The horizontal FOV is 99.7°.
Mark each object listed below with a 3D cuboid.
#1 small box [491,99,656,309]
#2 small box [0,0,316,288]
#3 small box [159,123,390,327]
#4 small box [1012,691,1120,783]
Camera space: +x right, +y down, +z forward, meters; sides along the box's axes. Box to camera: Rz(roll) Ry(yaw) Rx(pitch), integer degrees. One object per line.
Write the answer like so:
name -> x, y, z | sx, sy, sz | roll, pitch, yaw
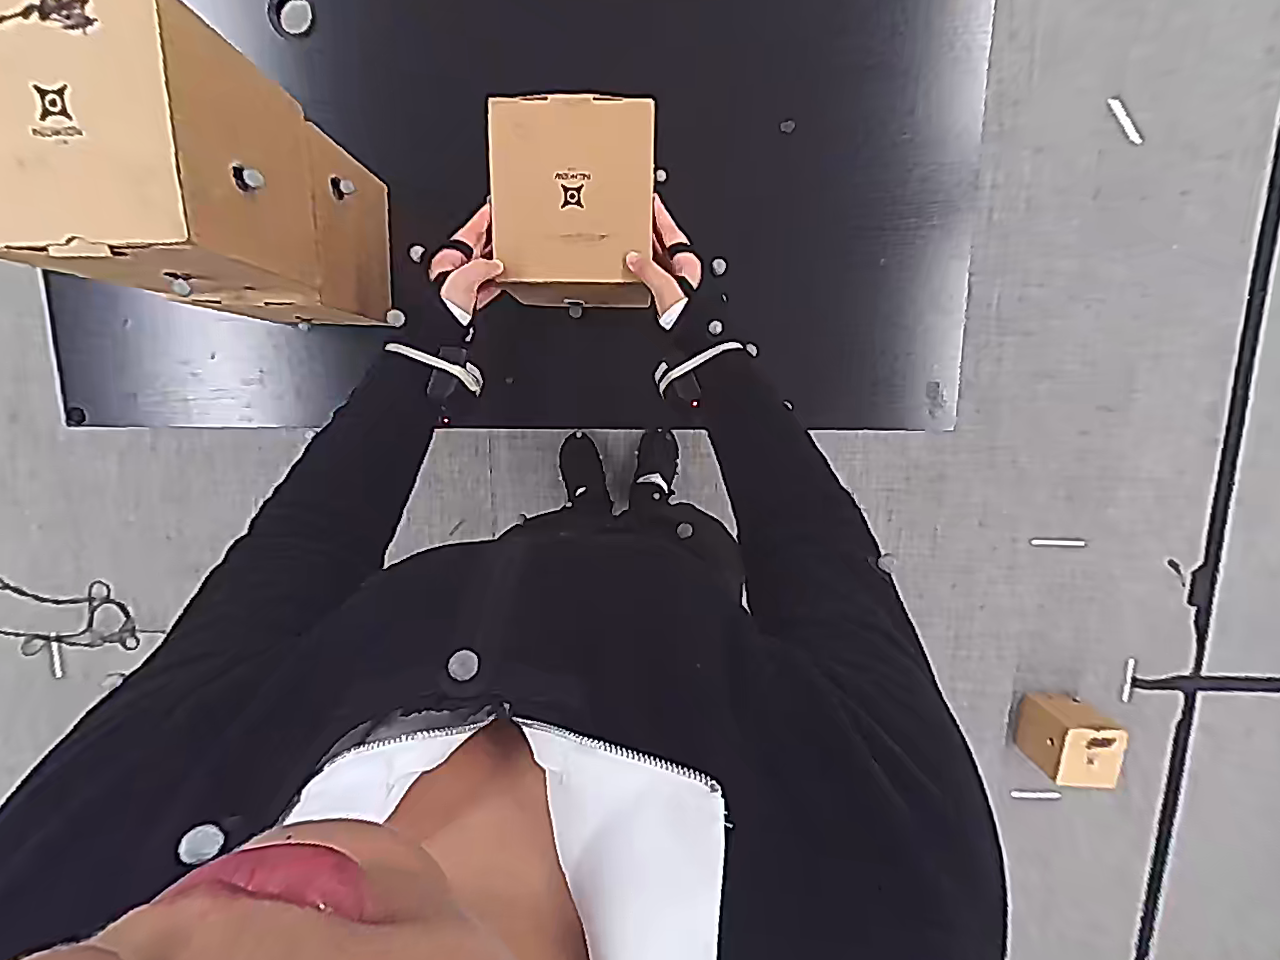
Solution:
small box -> -0.067, -0.301, 0.623 | 0.168, 0.176, 0.179 | 0, 100, 1
small box -> -0.404, -0.263, 0.456 | 0.168, 0.176, 0.179 | -1, 100, -1
small box -> -0.404, -0.279, 0.619 | 0.168, 0.176, 0.179 | 2, 99, -1
small box -> 1.207, 0.727, 1.545 | 0.168, 0.176, 0.179 | 4, 100, -1
